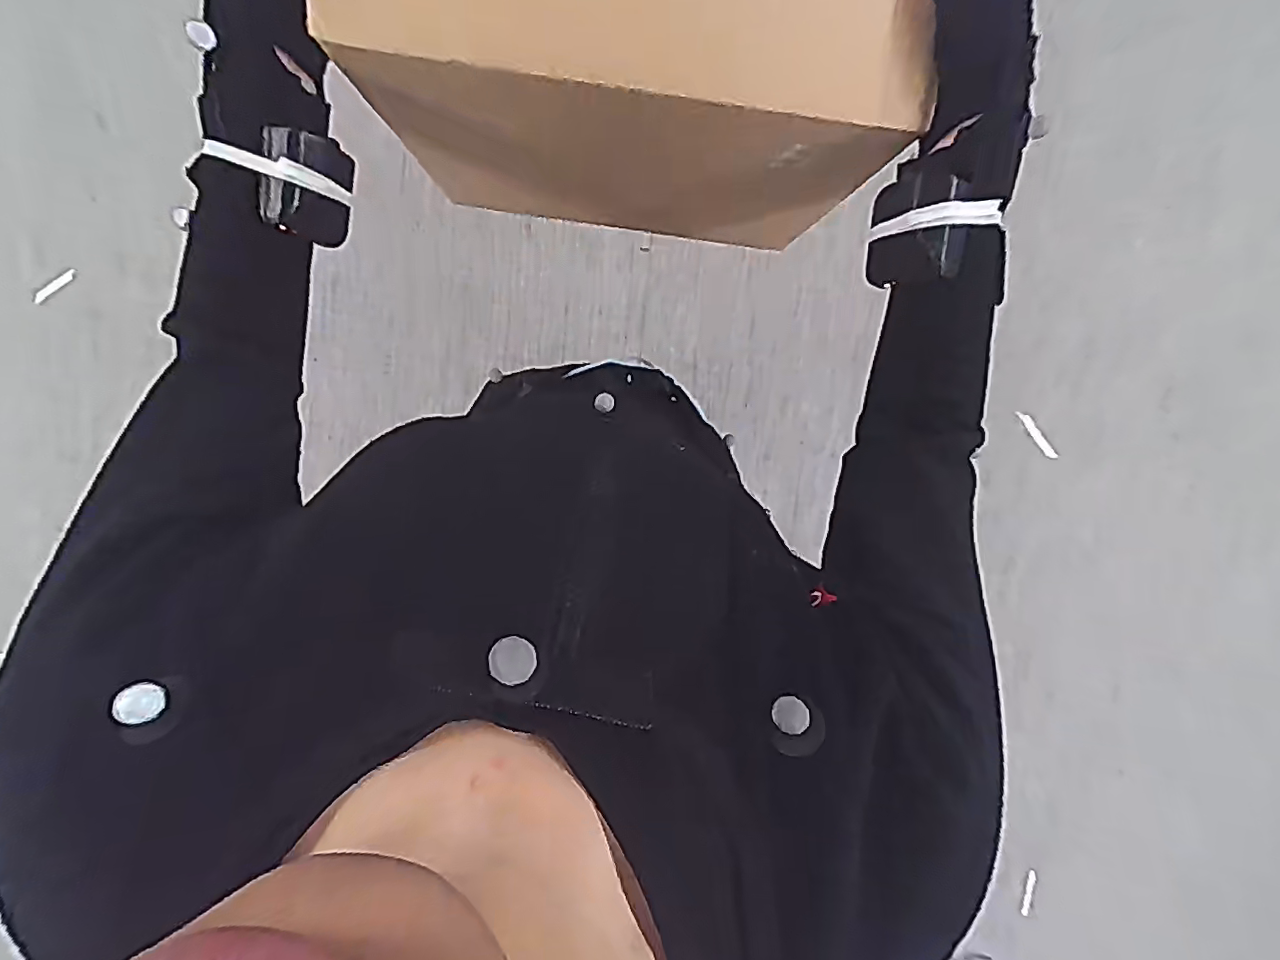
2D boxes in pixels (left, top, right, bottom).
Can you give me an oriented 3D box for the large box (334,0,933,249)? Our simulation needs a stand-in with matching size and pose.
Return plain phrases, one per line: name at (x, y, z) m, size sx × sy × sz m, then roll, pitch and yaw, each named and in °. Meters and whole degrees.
large box at (0.000, -0.431, 0.492) m, size 0.408 × 0.320 × 0.320 m, roll 6°, pitch 99°, yaw -5°
